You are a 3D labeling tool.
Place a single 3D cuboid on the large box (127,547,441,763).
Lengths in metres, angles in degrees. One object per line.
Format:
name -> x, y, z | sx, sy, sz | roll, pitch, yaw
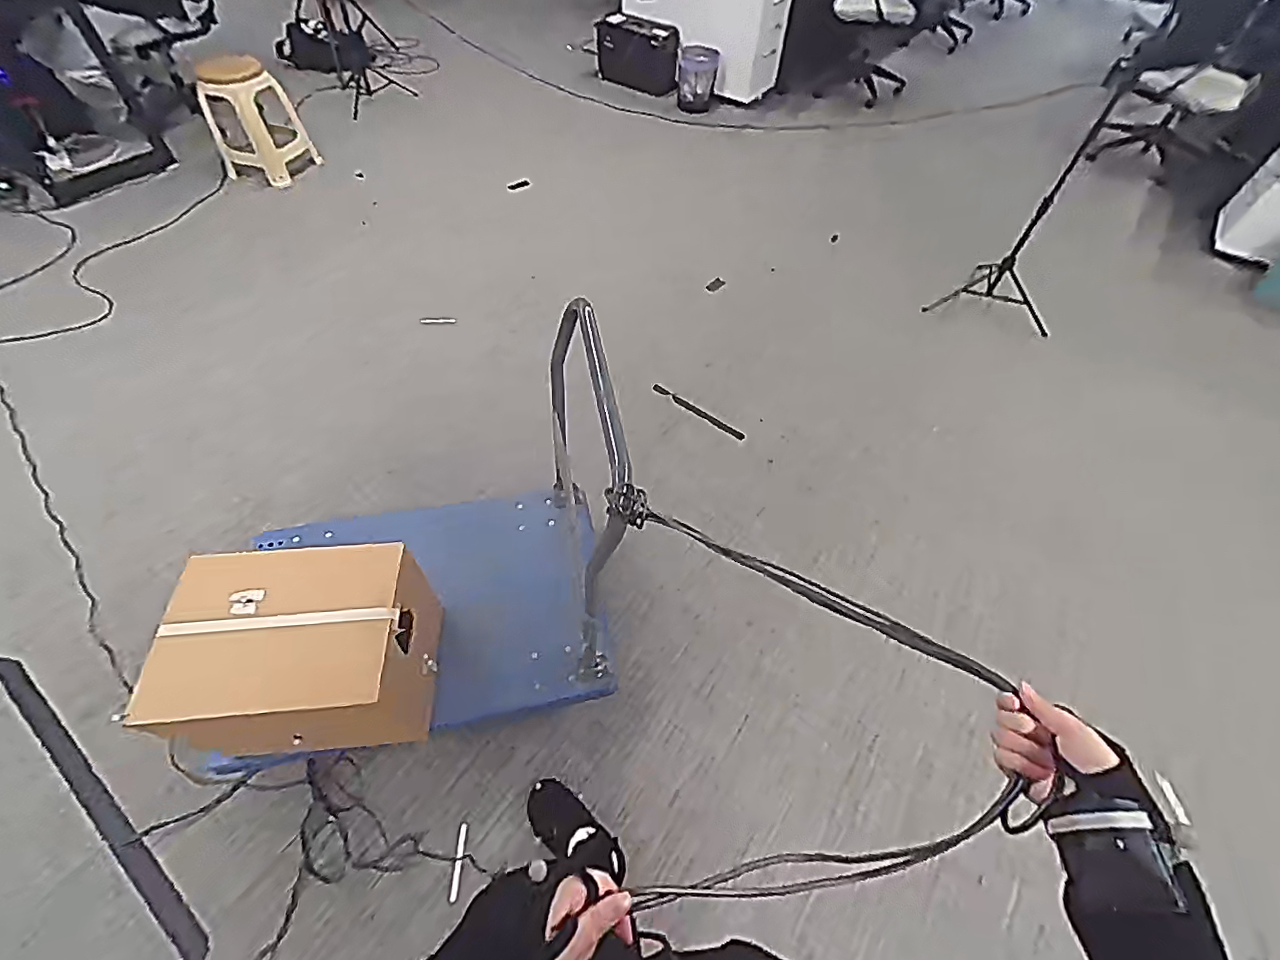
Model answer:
large box -> -0.652, 0.360, 1.093 | 0.408, 0.320, 0.320 | -4, 54, -5
